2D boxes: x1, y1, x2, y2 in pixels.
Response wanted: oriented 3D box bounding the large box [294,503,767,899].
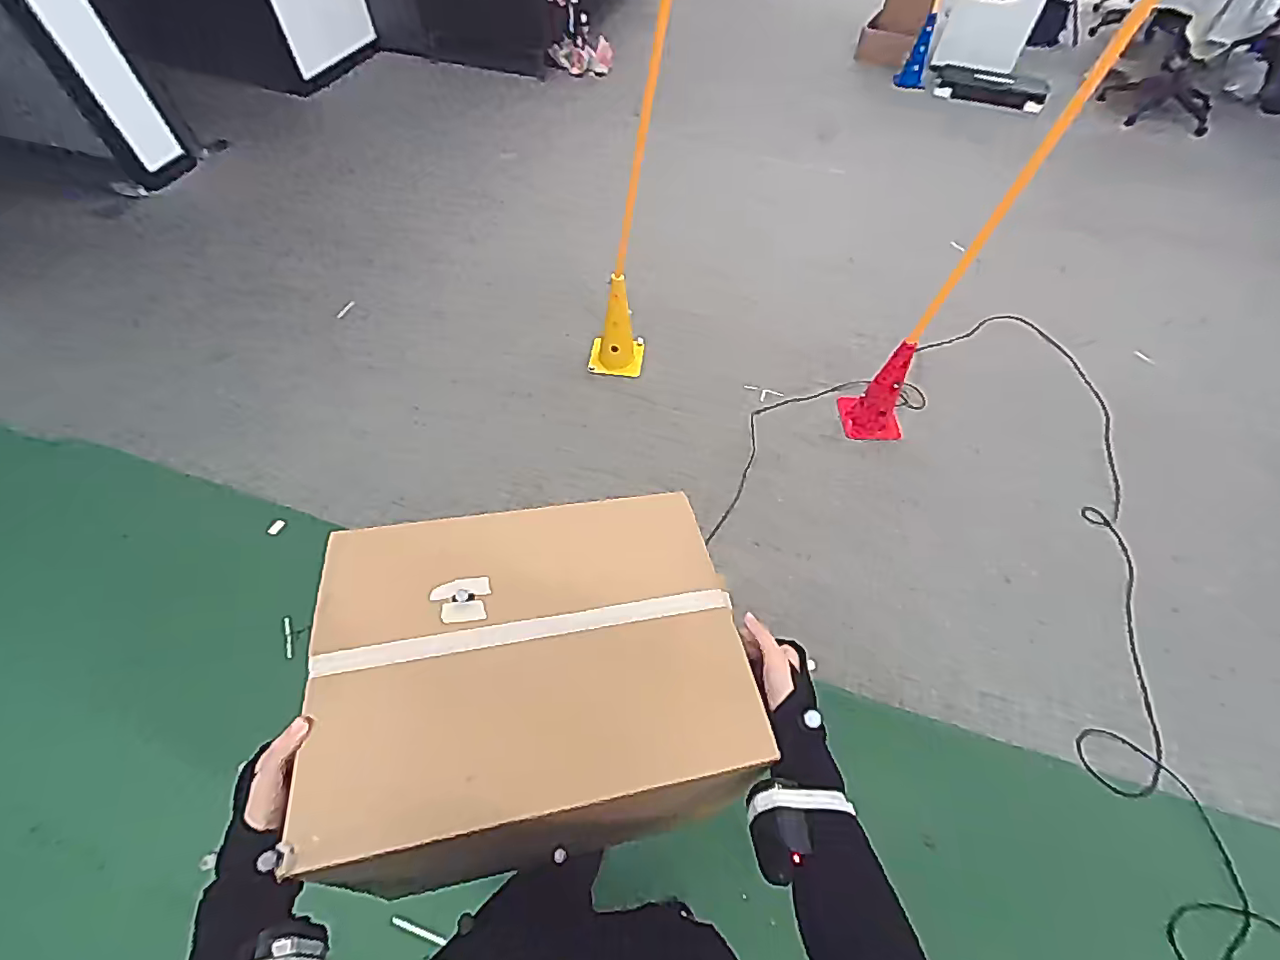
[{"bbox_3d":[-0.118,0.262,0.657,0.408,0.320,0.320,-7,50,-12],"label":"large box"}]
